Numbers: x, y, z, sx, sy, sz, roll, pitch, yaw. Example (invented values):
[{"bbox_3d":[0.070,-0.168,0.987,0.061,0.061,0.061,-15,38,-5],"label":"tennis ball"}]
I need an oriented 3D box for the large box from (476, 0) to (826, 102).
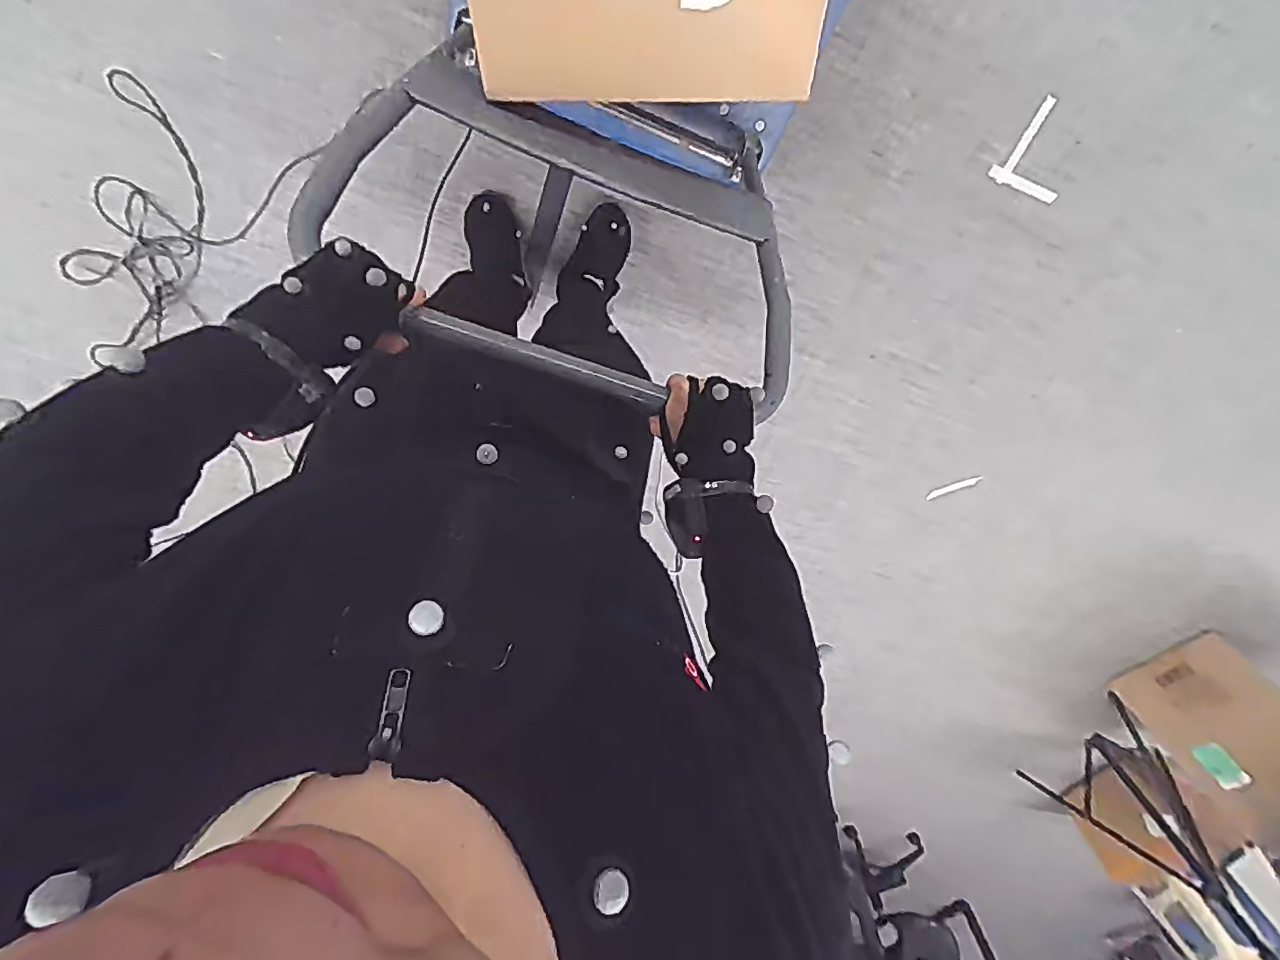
[{"bbox_3d":[0.010,-0.692,0.665,0.408,0.320,0.320,0,138,1],"label":"large box"}]
